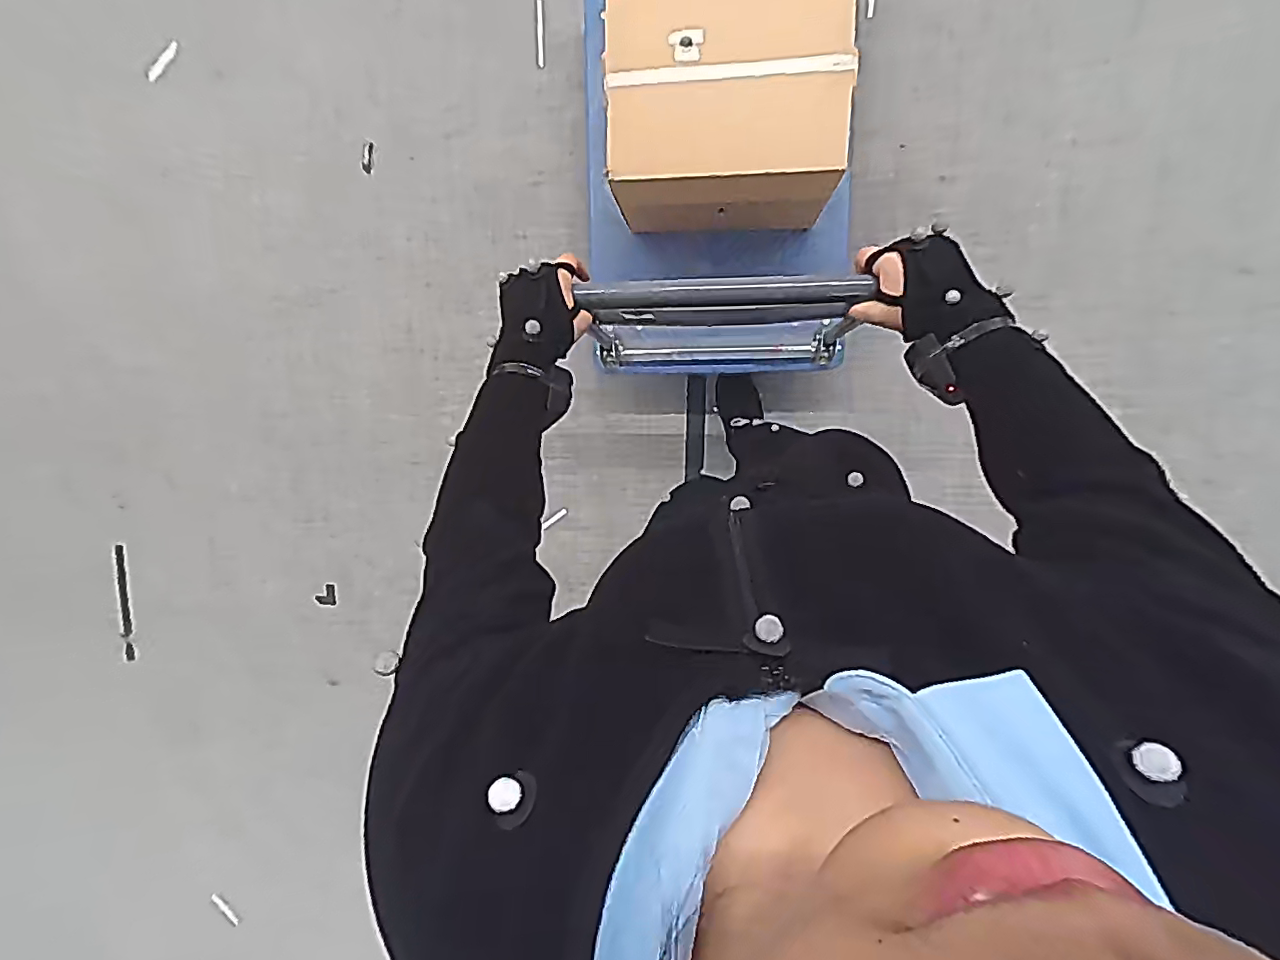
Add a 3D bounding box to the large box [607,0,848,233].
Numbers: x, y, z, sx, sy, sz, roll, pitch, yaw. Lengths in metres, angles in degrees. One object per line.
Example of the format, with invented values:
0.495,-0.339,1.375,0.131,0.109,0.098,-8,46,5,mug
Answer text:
0.165,-0.698,1.061,0.408,0.320,0.320,1,97,8,large box
